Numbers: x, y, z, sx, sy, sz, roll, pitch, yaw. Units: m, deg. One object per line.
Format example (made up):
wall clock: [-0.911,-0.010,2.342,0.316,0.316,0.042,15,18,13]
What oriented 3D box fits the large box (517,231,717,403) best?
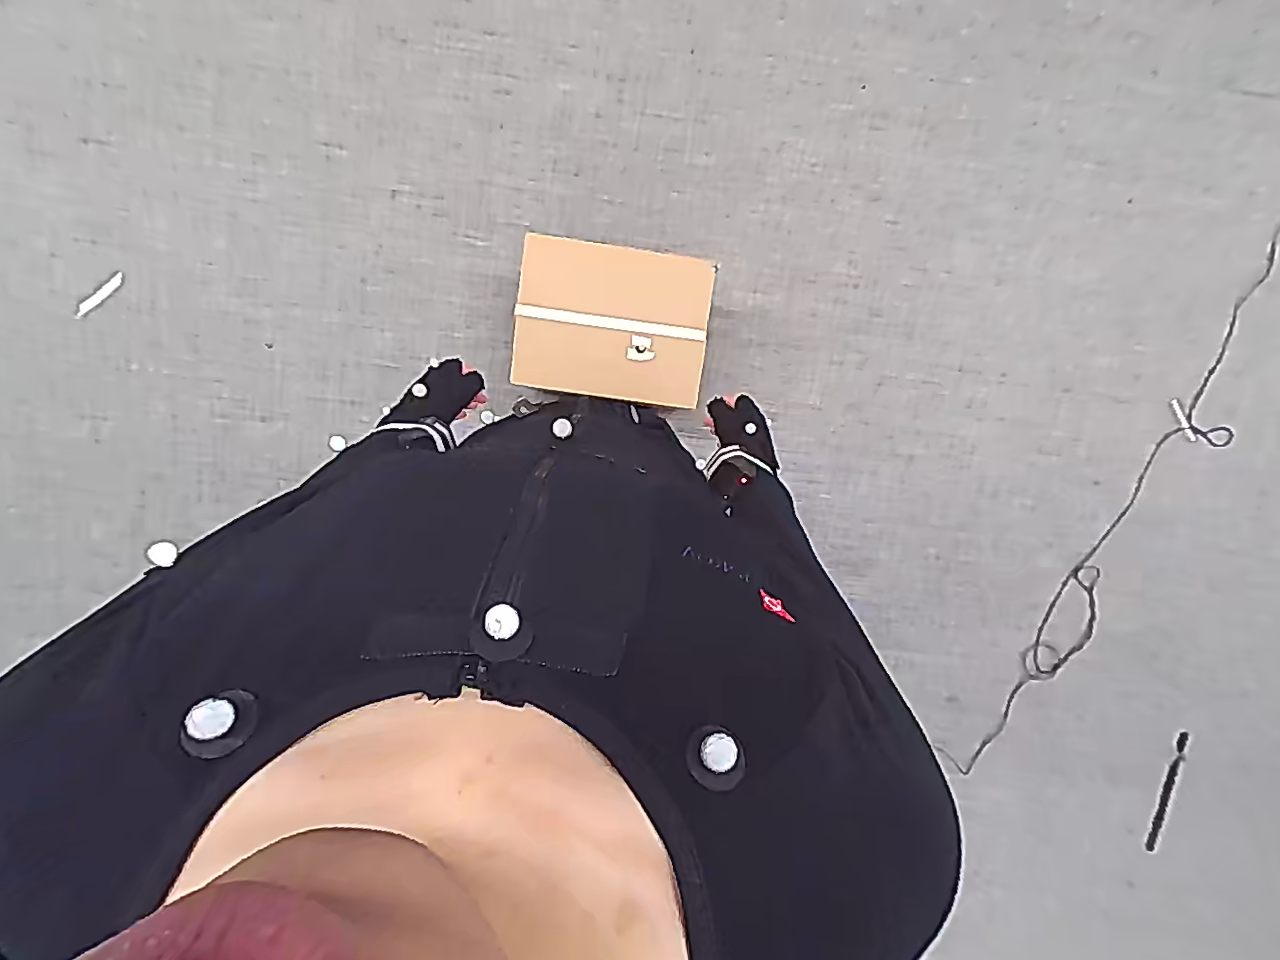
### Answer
large box: [-0.059,-0.361,1.290,0.408,0.320,0.320,7,98,-4]
